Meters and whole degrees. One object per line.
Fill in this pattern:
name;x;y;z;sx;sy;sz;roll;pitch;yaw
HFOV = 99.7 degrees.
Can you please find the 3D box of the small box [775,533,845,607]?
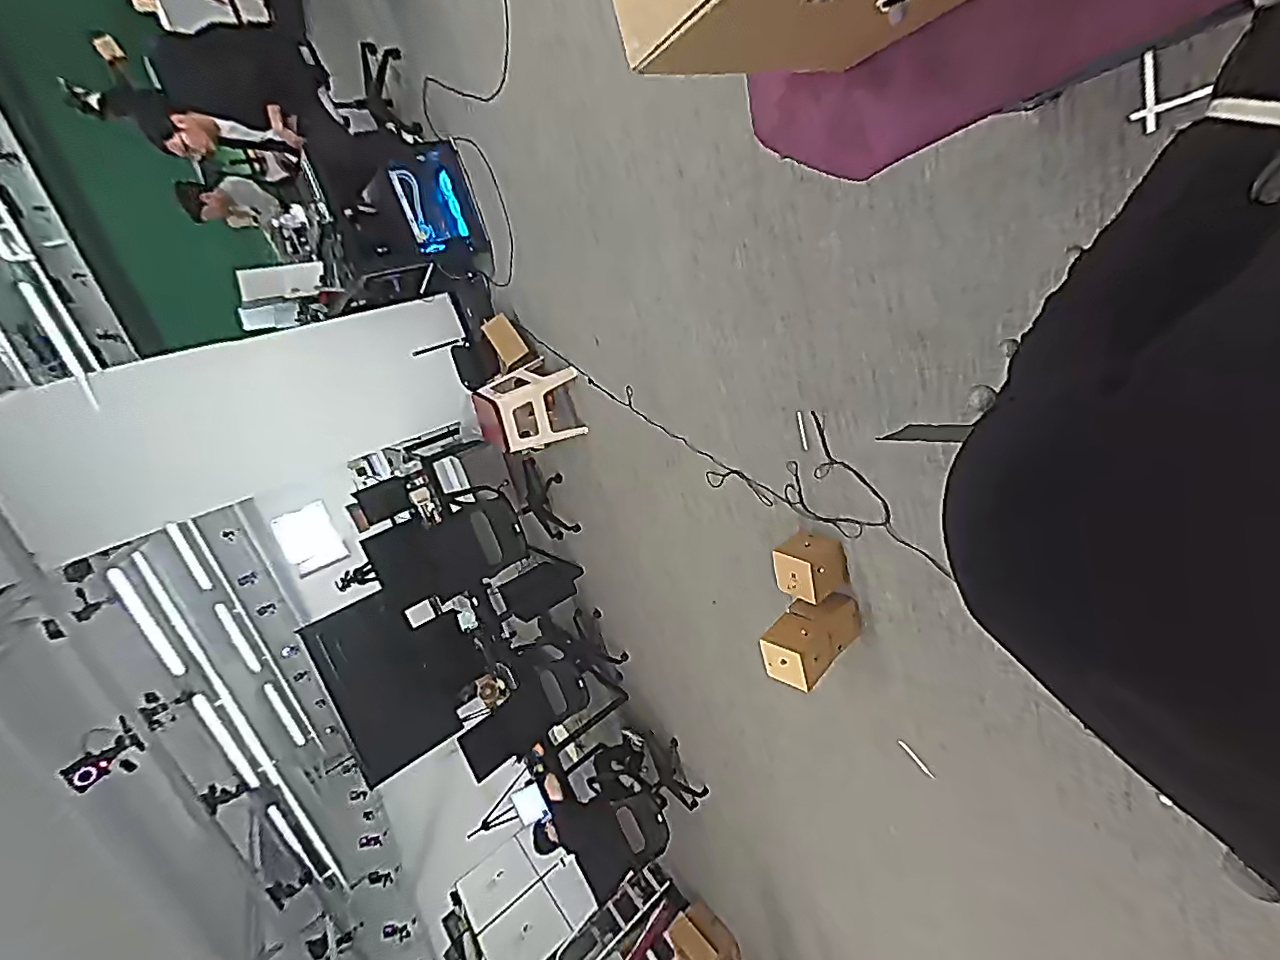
small box;0.605;0.310;1.916;0.168;0.176;0.179;17;128;52
